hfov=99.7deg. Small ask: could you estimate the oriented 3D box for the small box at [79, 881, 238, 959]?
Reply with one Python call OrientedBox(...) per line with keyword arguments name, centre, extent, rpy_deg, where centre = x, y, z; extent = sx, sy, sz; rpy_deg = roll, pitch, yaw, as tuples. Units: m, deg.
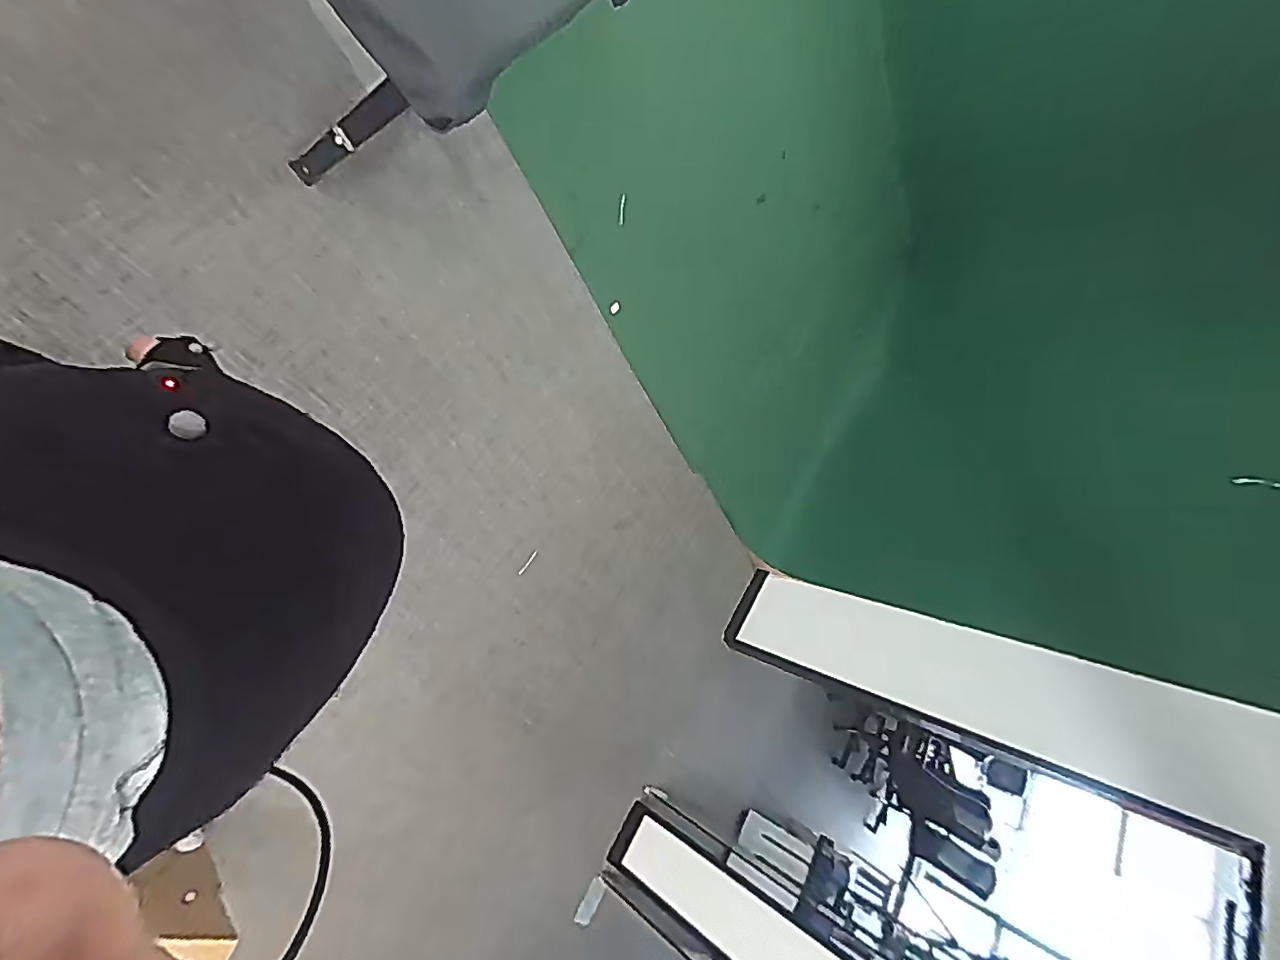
OrientedBox(name="small box", centre=(-0.901, 0.889, 0.997), extent=(0.168, 0.176, 0.179), rpy_deg=(49, 58, -42))
